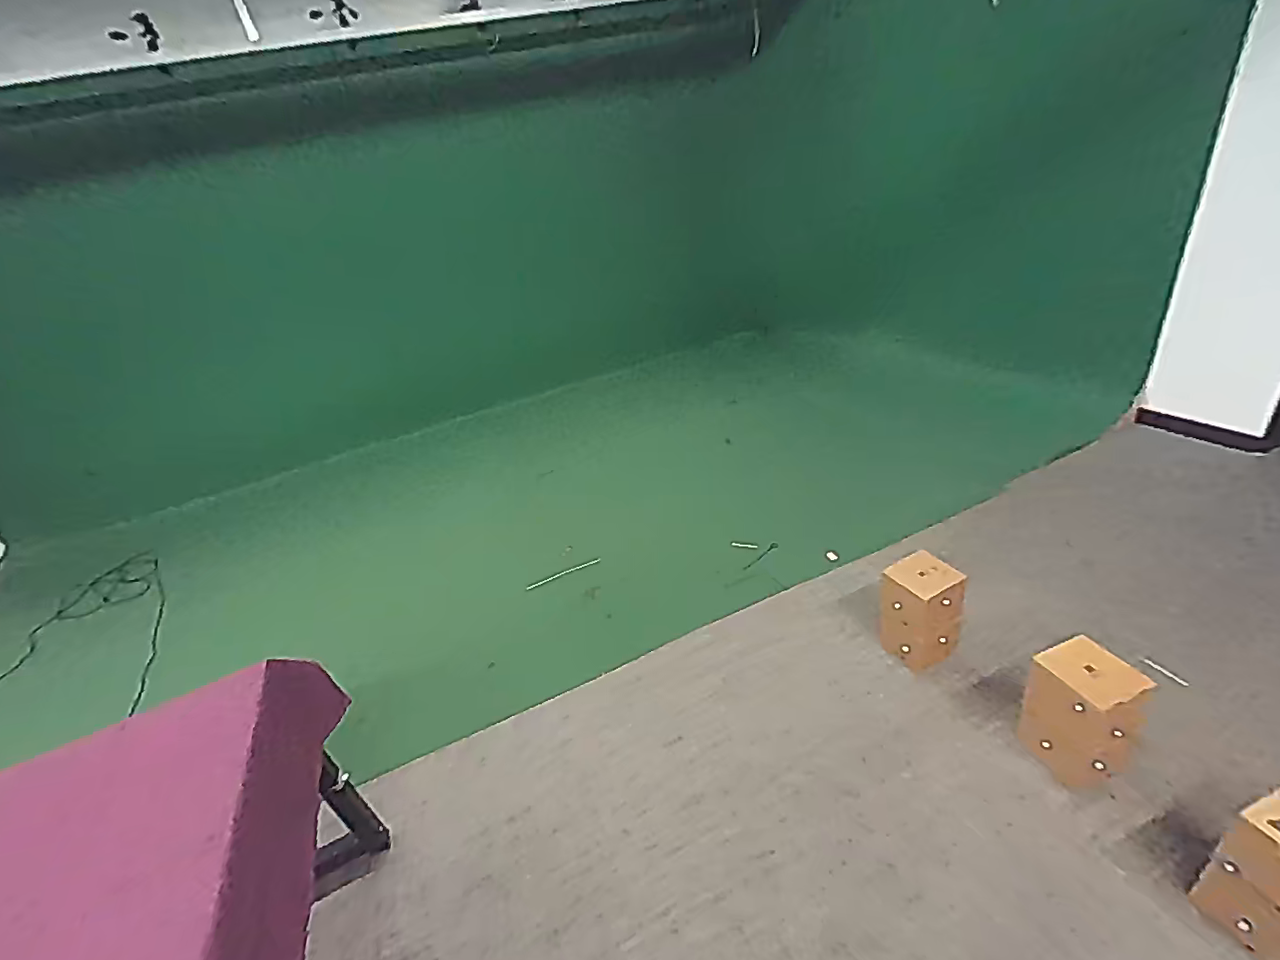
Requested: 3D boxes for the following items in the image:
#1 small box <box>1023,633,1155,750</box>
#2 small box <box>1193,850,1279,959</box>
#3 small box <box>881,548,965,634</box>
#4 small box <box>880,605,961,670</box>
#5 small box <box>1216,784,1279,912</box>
[{"bbox_3d":[1.092,0.519,1.333,0.168,0.176,0.179,-18,30,-11],"label":"small box"},{"bbox_3d":[1.260,0.827,1.070,0.179,0.176,0.168,-20,31,-11],"label":"small box"},{"bbox_3d":[0.884,0.352,1.700,0.179,0.176,0.168,-22,32,-16],"label":"small box"},{"bbox_3d":[0.919,0.491,1.781,0.179,0.176,0.168,-21,31,-15],"label":"small box"},{"bbox_3d":[1.224,0.688,0.989,0.179,0.176,0.168,-17,30,-11],"label":"small box"}]
